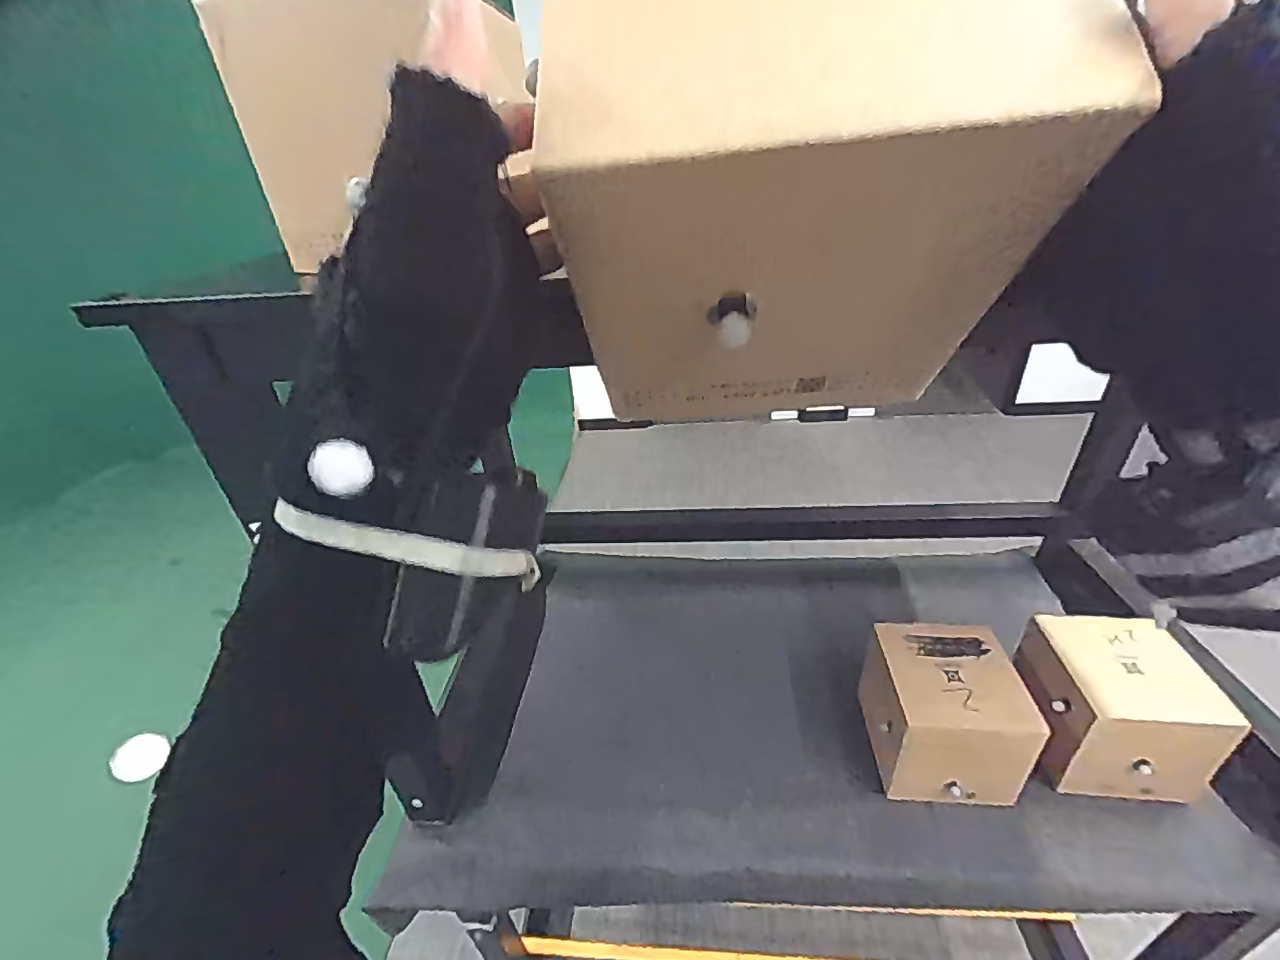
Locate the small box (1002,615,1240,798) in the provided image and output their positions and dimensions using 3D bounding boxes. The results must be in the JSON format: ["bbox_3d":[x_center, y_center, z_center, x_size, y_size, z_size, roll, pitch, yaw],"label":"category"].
[{"bbox_3d":[0.650,0.316,0.762,0.168,0.176,0.179,0,31,9],"label":"small box"}]

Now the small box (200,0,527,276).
[{"bbox_3d":[-0.190,-0.273,0.448,0.168,0.176,0.179,-1,32,6],"label":"small box"}]
